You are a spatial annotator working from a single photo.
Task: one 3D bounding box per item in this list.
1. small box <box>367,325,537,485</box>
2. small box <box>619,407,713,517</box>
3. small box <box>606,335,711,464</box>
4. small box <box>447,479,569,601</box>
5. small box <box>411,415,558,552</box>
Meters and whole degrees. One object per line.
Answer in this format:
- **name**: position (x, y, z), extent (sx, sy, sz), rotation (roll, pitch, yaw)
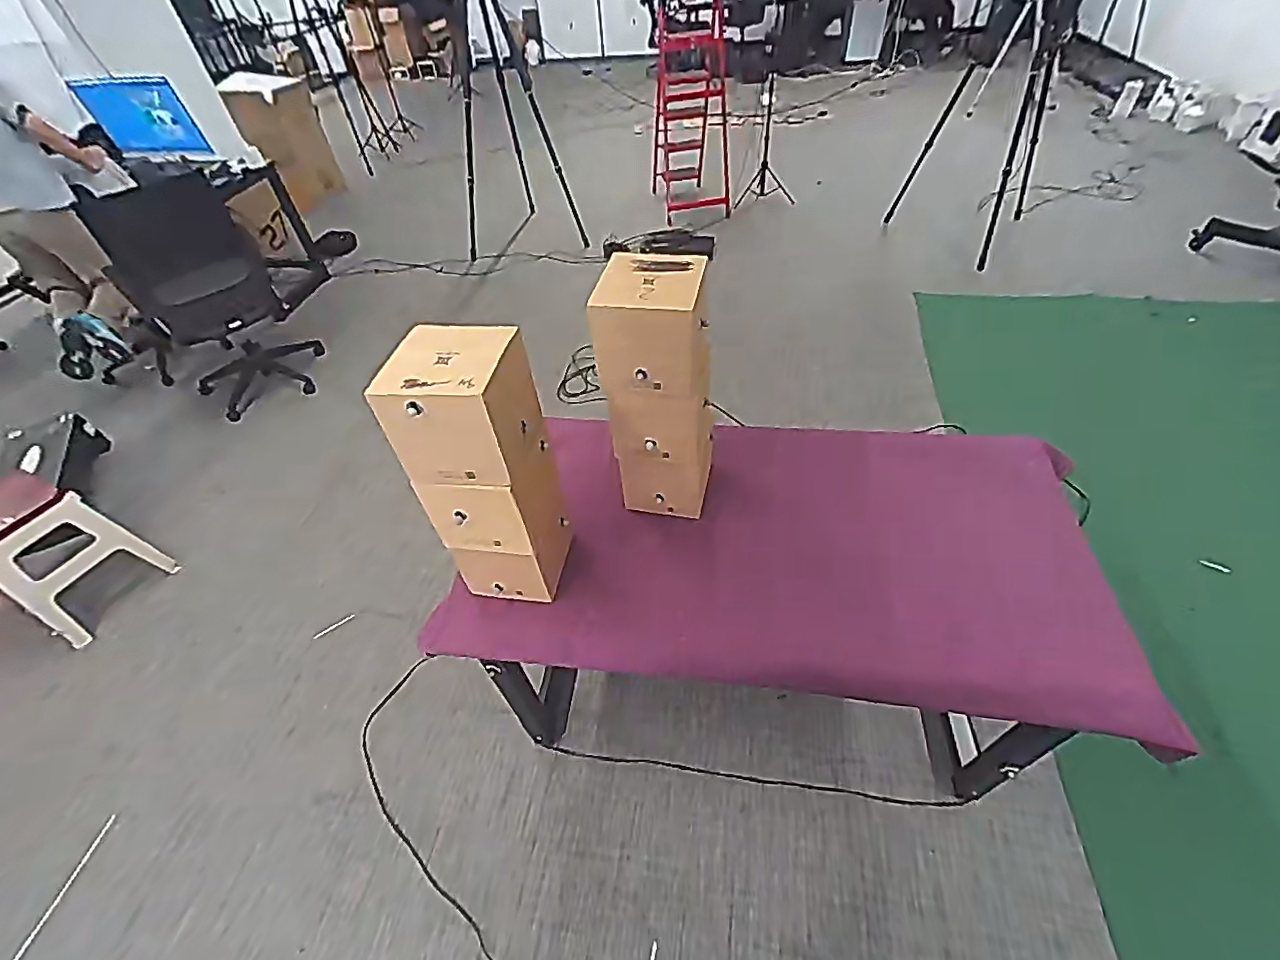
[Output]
- **small box**: position (-0.263, -0.114, 0.810), extent (0.168, 0.176, 0.179), rotation (2, 45, 9)
- **small box**: position (0.060, -0.048, 1.163), extent (0.168, 0.176, 0.179), rotation (8, 49, 13)
- **small box**: position (0.042, -0.155, 1.040), extent (0.168, 0.176, 0.179), rotation (6, 49, 11)
- **small box**: position (-0.242, 0.109, 1.047), extent (0.168, 0.176, 0.179), rotation (4, 47, 10)
- **small box**: position (-0.250, 0.004, 0.925), extent (0.168, 0.176, 0.179), rotation (4, 46, 10)
